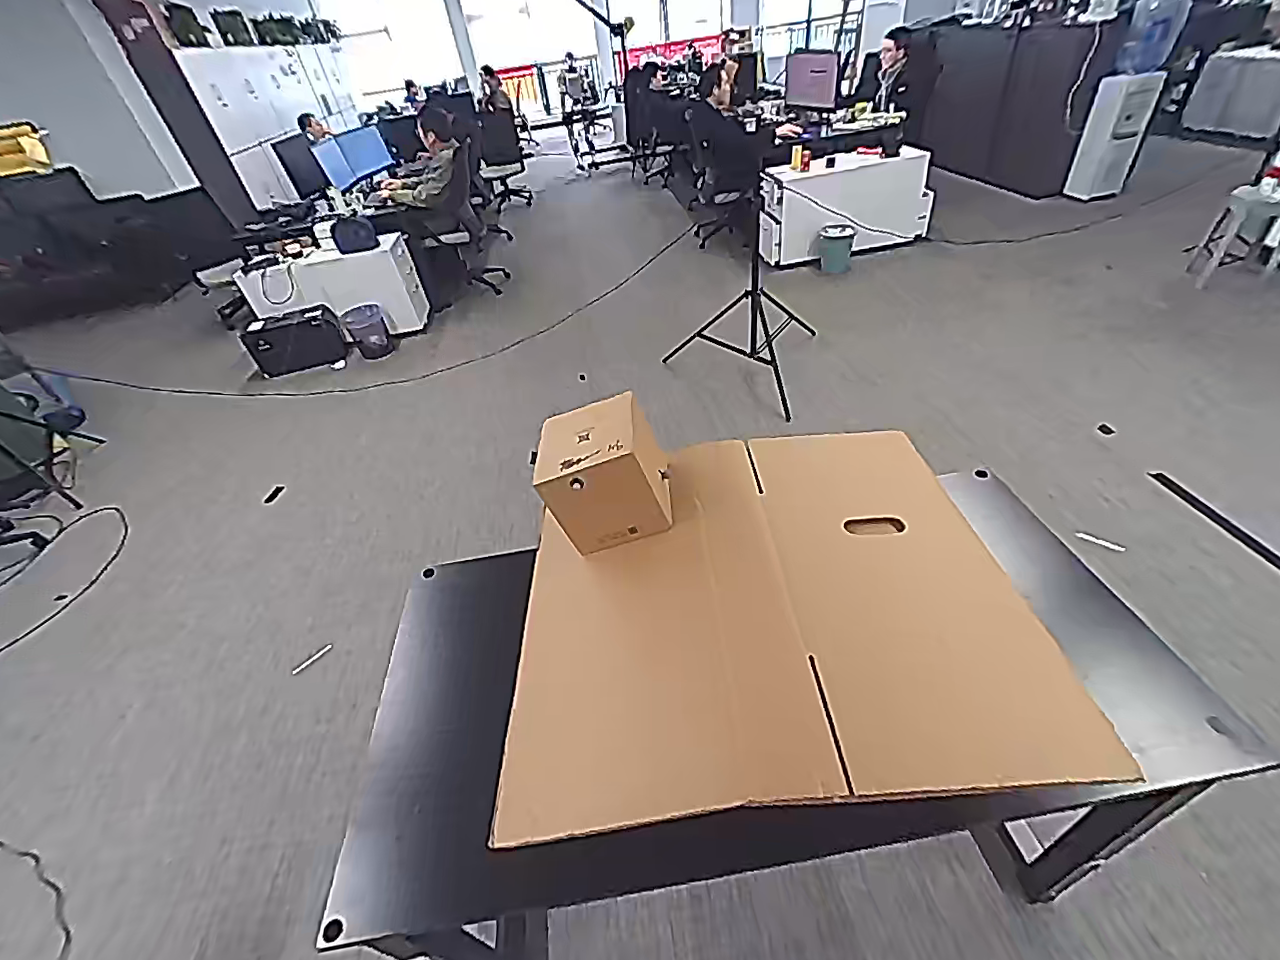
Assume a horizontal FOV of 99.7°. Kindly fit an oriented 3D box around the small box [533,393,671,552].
[{"bbox_3d":[-0.055,-0.011,0.896,0.168,0.176,0.179,-19,37,13],"label":"small box"}]
